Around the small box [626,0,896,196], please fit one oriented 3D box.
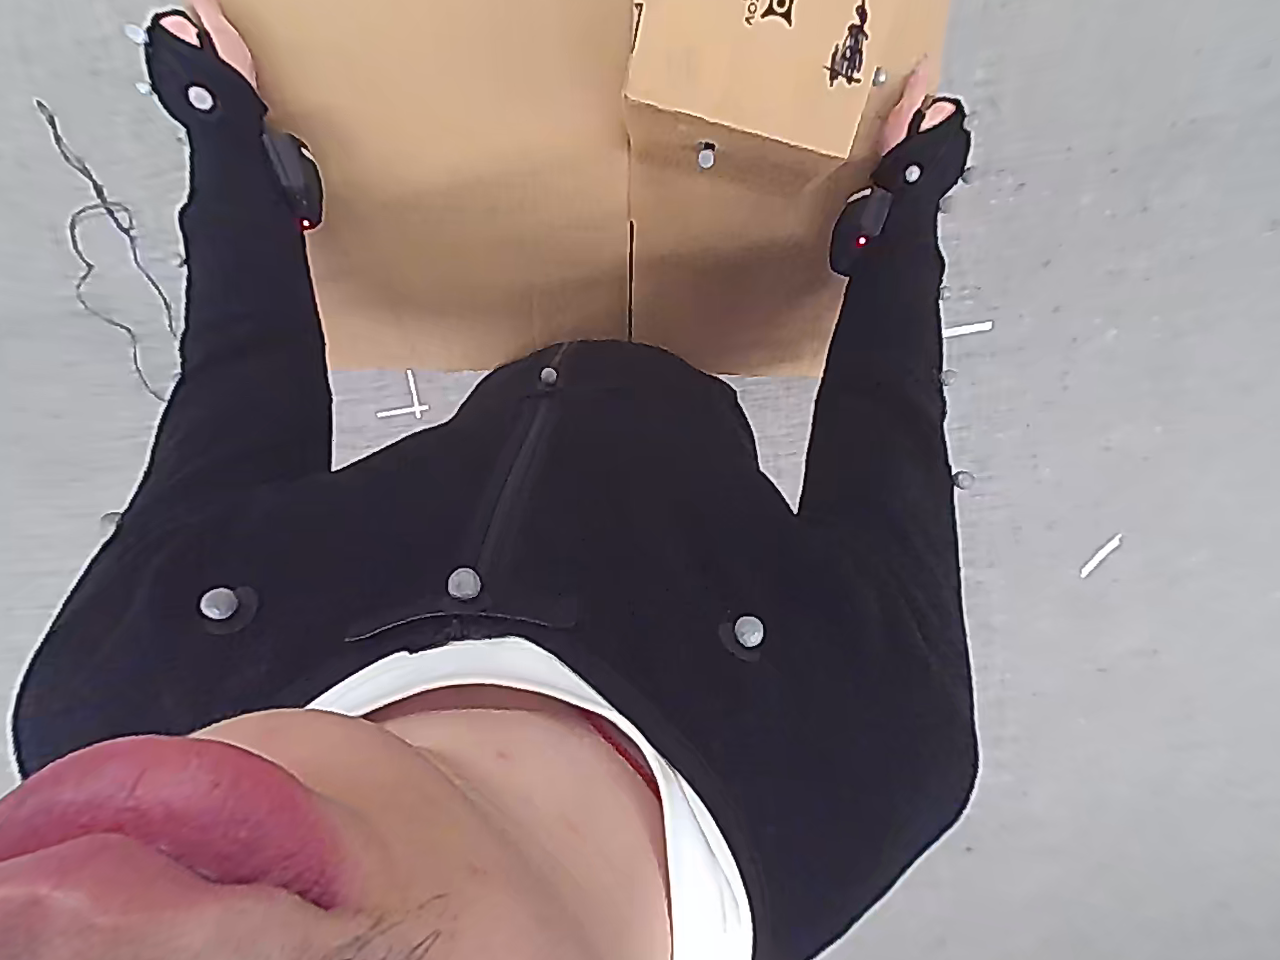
[{"bbox_3d":[0.097,-0.363,0.462,0.179,0.176,0.168,15,108,-1],"label":"small box"}]
